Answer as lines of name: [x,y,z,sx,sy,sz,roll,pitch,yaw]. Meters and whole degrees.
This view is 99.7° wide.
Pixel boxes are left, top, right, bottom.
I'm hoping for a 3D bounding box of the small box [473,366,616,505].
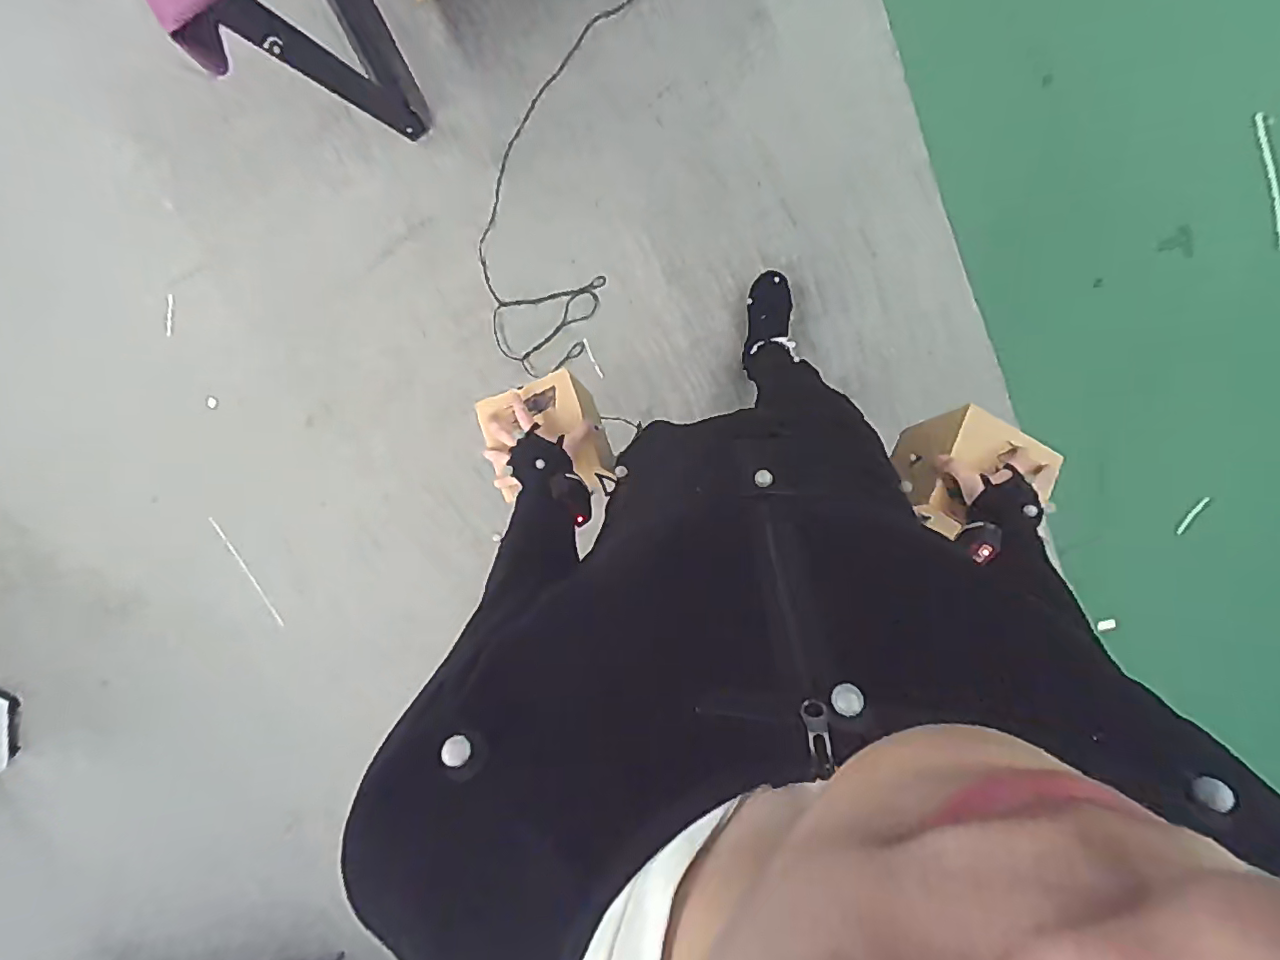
small box: [-0.155,-0.067,0.928,0.168,0.176,0.179,-21,82,7]
